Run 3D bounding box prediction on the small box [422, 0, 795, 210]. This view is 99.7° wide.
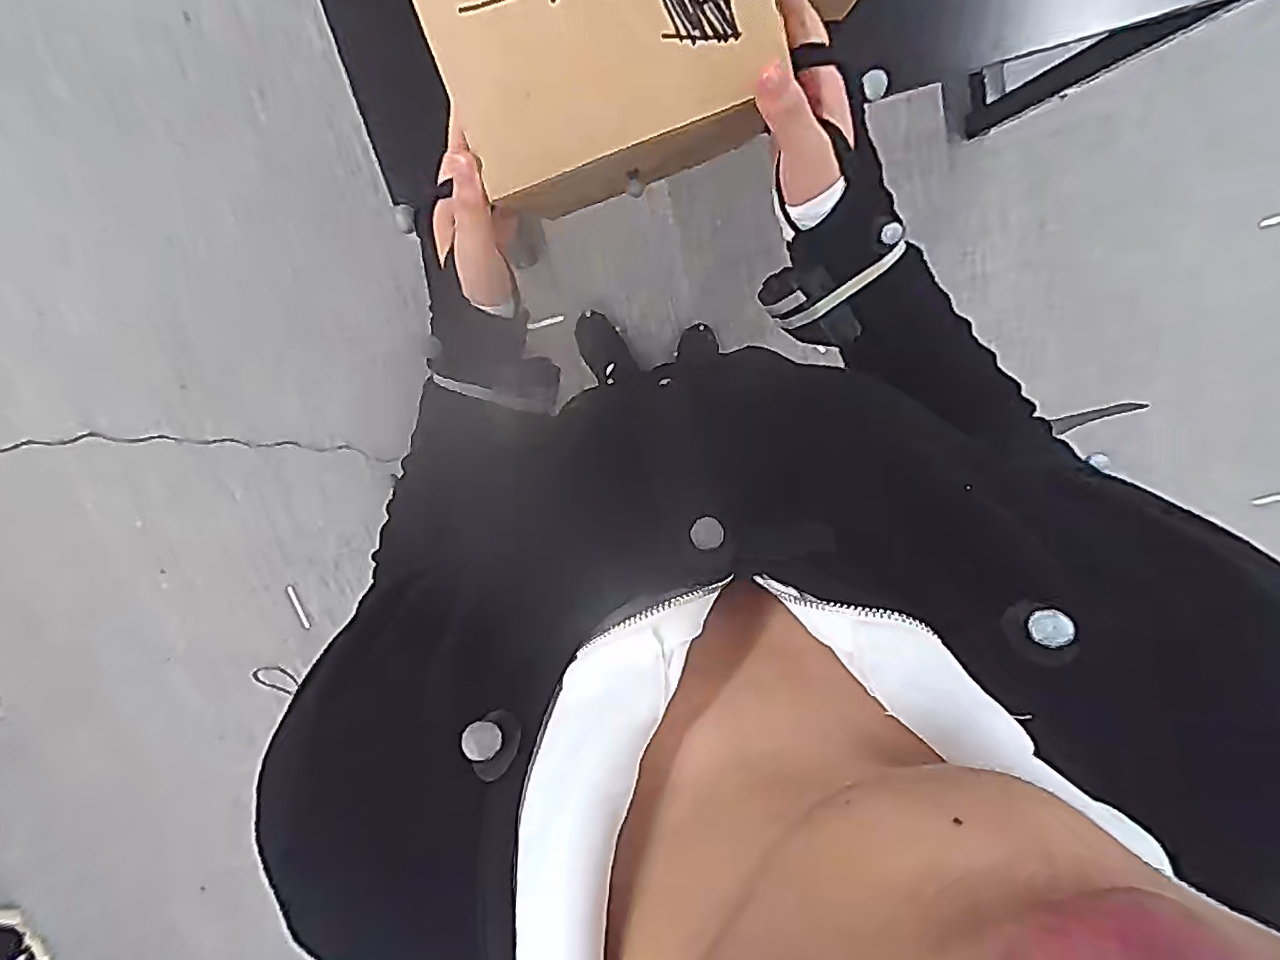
[{"bbox_3d":[-0.021,-0.286,0.339,0.179,0.176,0.168,-15,111,10],"label":"small box"}]
